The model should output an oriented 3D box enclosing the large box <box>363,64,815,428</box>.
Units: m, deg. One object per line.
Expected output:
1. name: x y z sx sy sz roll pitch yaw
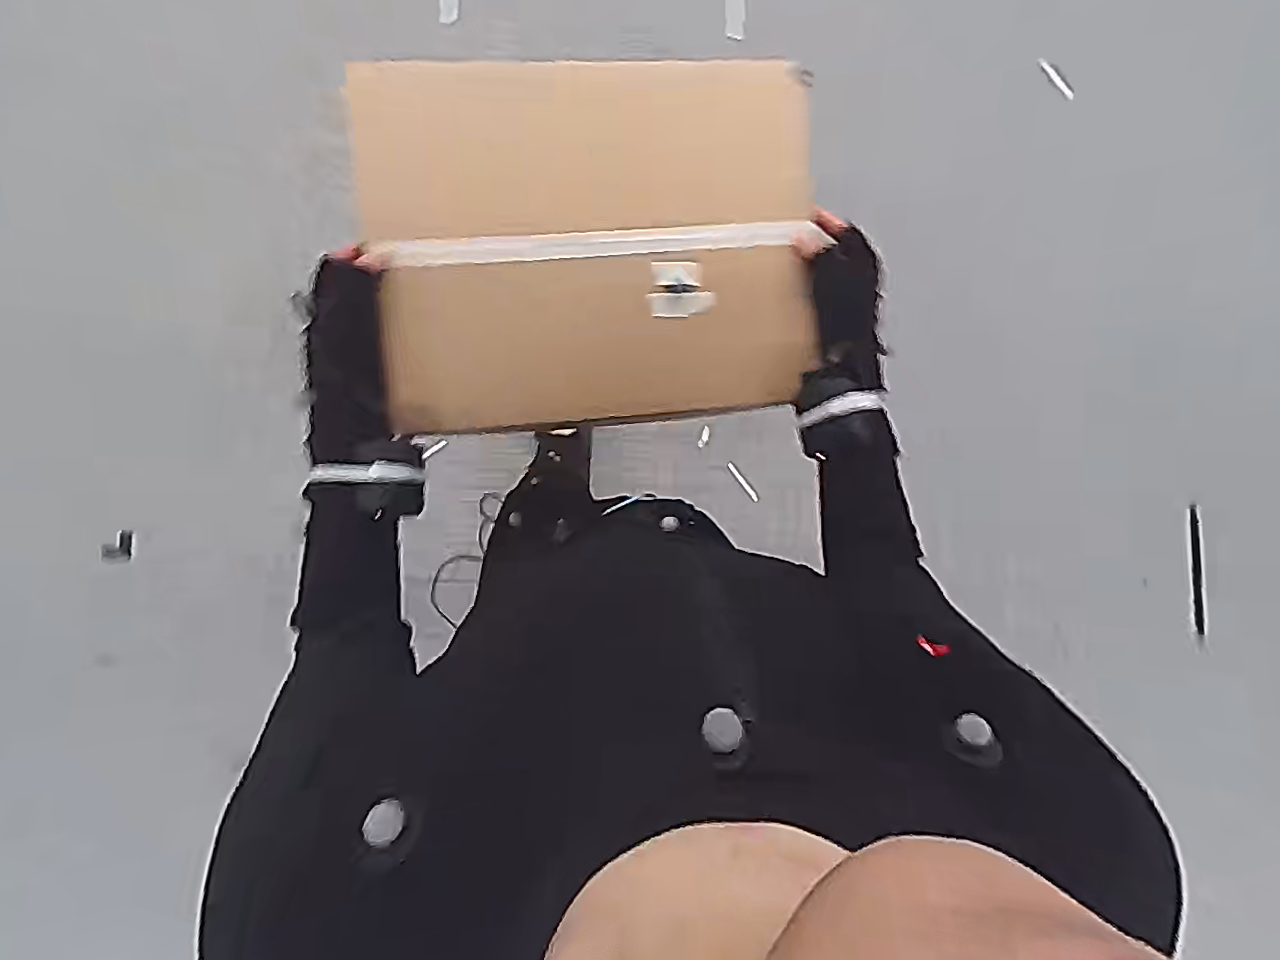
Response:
1. large box: -0.054 -0.236 0.651 0.408 0.320 0.320 -5 96 -8
